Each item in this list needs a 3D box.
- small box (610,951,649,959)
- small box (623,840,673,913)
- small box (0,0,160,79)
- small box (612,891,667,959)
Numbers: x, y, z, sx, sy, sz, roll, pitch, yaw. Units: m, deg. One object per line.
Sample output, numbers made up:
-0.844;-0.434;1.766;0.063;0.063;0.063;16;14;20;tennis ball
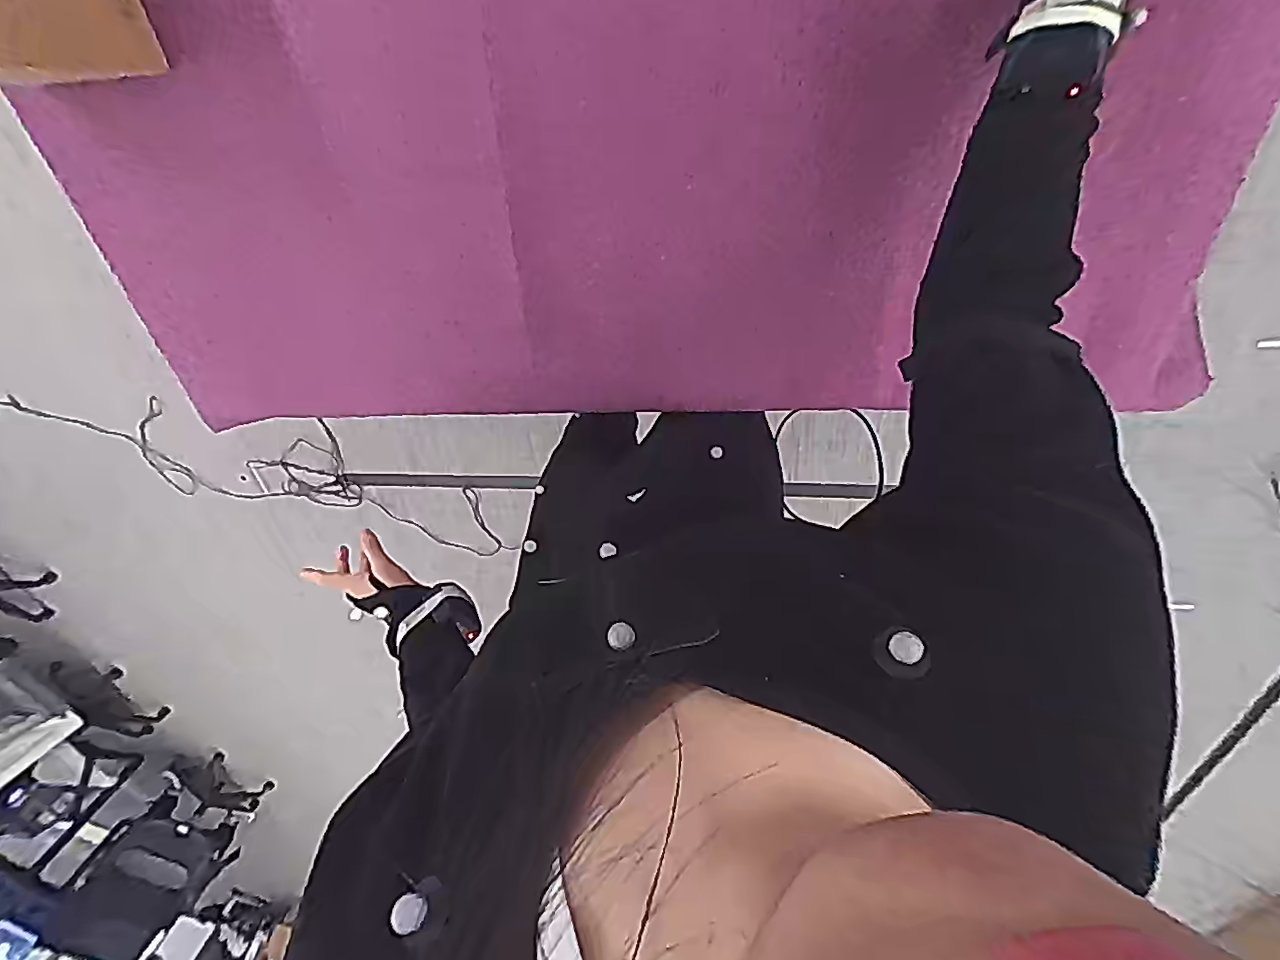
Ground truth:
-0.023;1.655;1.743;0.168;0.176;0.179;3;127;11;small box
0.032;1.468;2.002;0.168;0.176;0.179;5;125;8;small box
-0.577;-0.441;0.450;0.179;0.176;0.168;2;127;8;small box
0.002;1.558;1.870;0.168;0.176;0.179;3;126;9;small box
